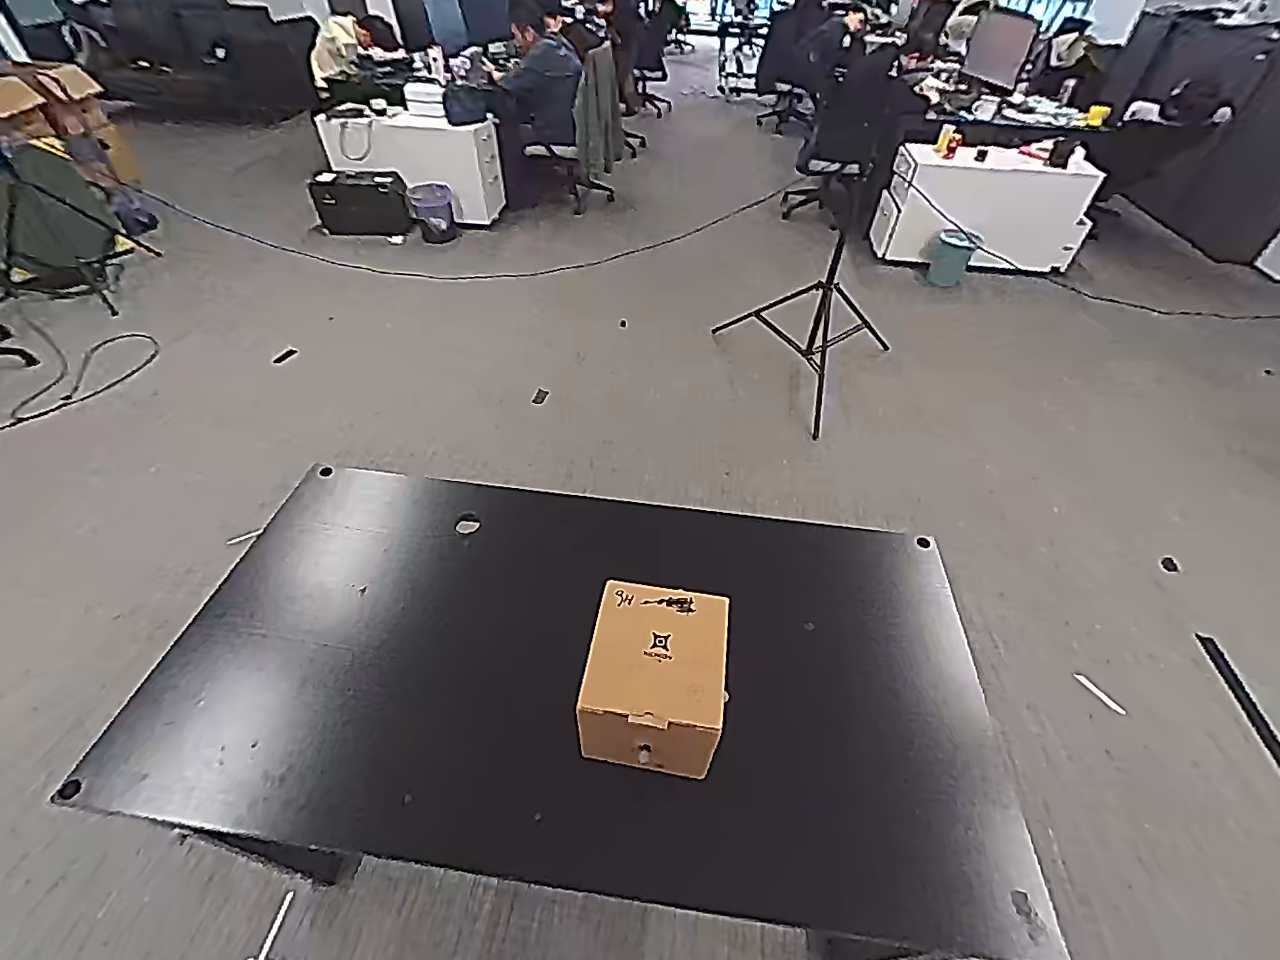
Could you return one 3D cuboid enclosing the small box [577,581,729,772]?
[{"bbox_3d":[0.022,0.262,0.716,0.168,0.176,0.179,7,46,6],"label":"small box"}]
